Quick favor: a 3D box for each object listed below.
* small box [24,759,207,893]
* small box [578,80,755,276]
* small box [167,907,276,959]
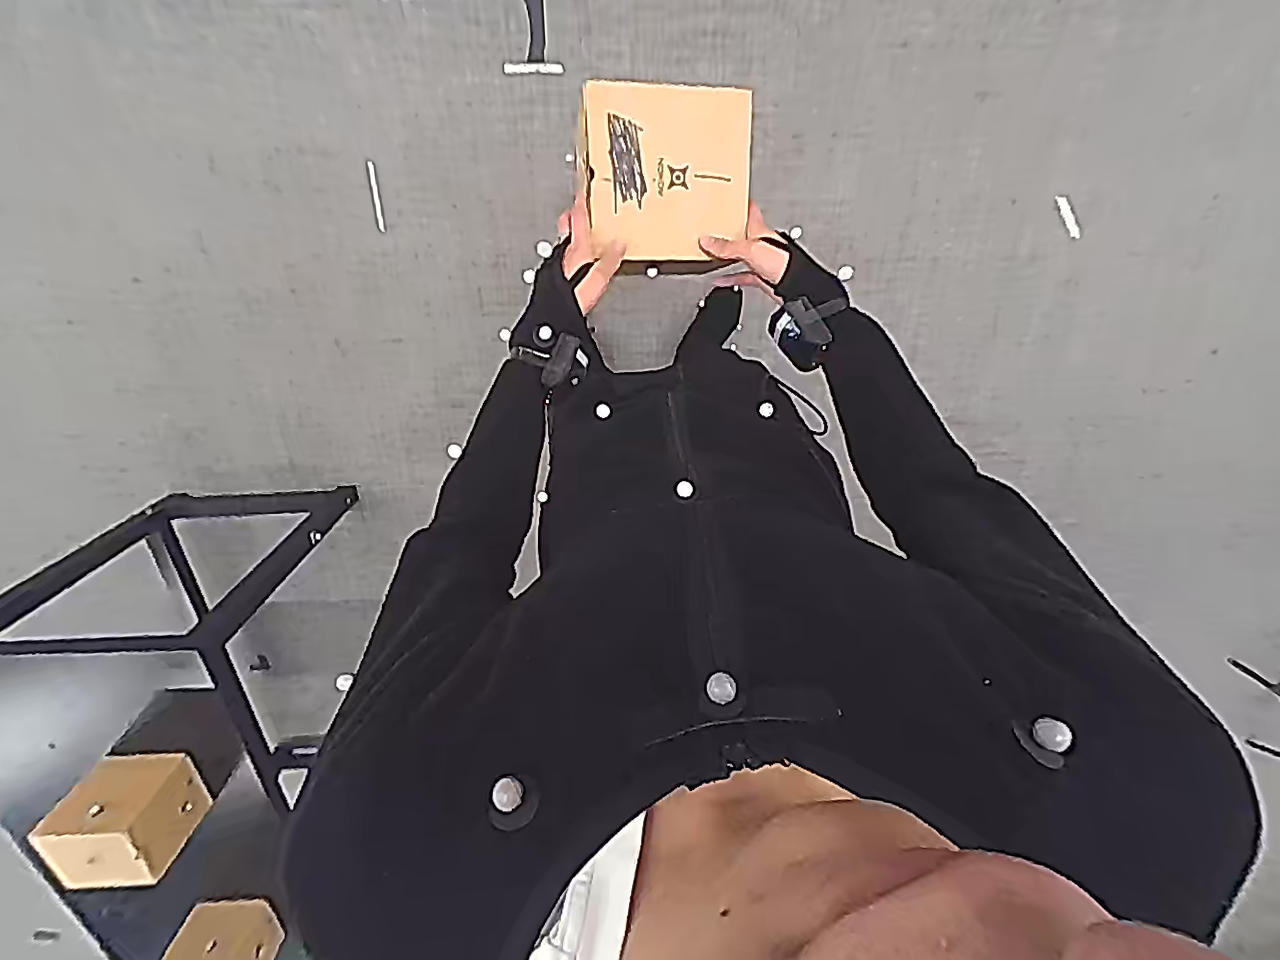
[{"bbox_3d":[-1.038,0.691,1.090,0.179,0.176,0.168,-2,115,-2],"label":"small box"},{"bbox_3d":[0.019,-0.333,0.631,0.179,0.176,0.168,-3,106,-10],"label":"small box"},{"bbox_3d":[-1.027,1.177,1.317,0.179,0.176,0.168,-3,115,-2],"label":"small box"}]
